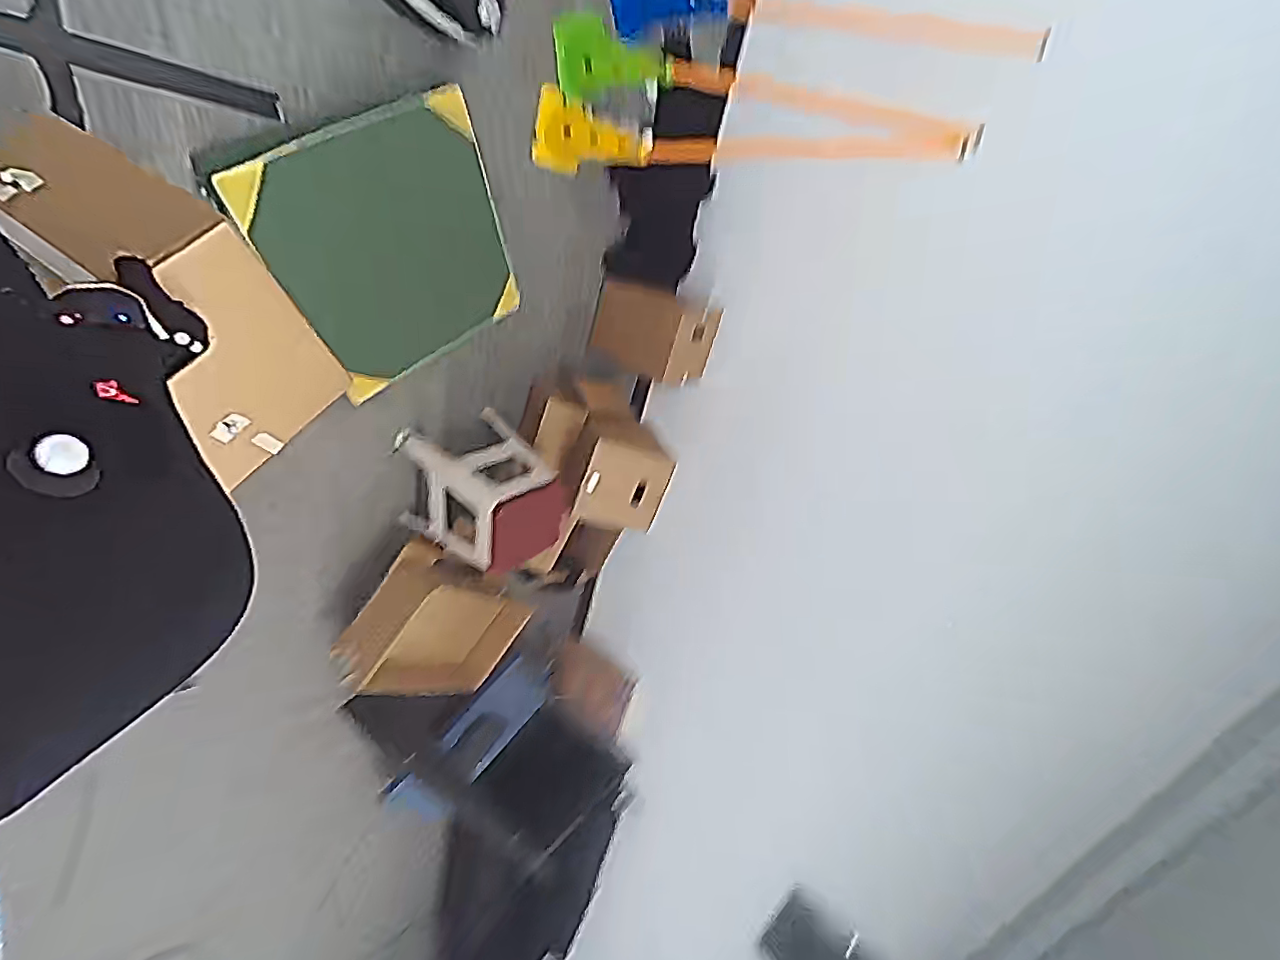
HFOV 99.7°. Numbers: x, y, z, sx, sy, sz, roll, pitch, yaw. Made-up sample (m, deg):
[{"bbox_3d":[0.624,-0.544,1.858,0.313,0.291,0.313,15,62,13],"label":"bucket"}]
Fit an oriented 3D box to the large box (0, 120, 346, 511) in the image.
[{"bbox_3d":[-0.735,-0.219,0.769,0.320,0.408,0.320,-53,163,-21],"label":"large box"}]
